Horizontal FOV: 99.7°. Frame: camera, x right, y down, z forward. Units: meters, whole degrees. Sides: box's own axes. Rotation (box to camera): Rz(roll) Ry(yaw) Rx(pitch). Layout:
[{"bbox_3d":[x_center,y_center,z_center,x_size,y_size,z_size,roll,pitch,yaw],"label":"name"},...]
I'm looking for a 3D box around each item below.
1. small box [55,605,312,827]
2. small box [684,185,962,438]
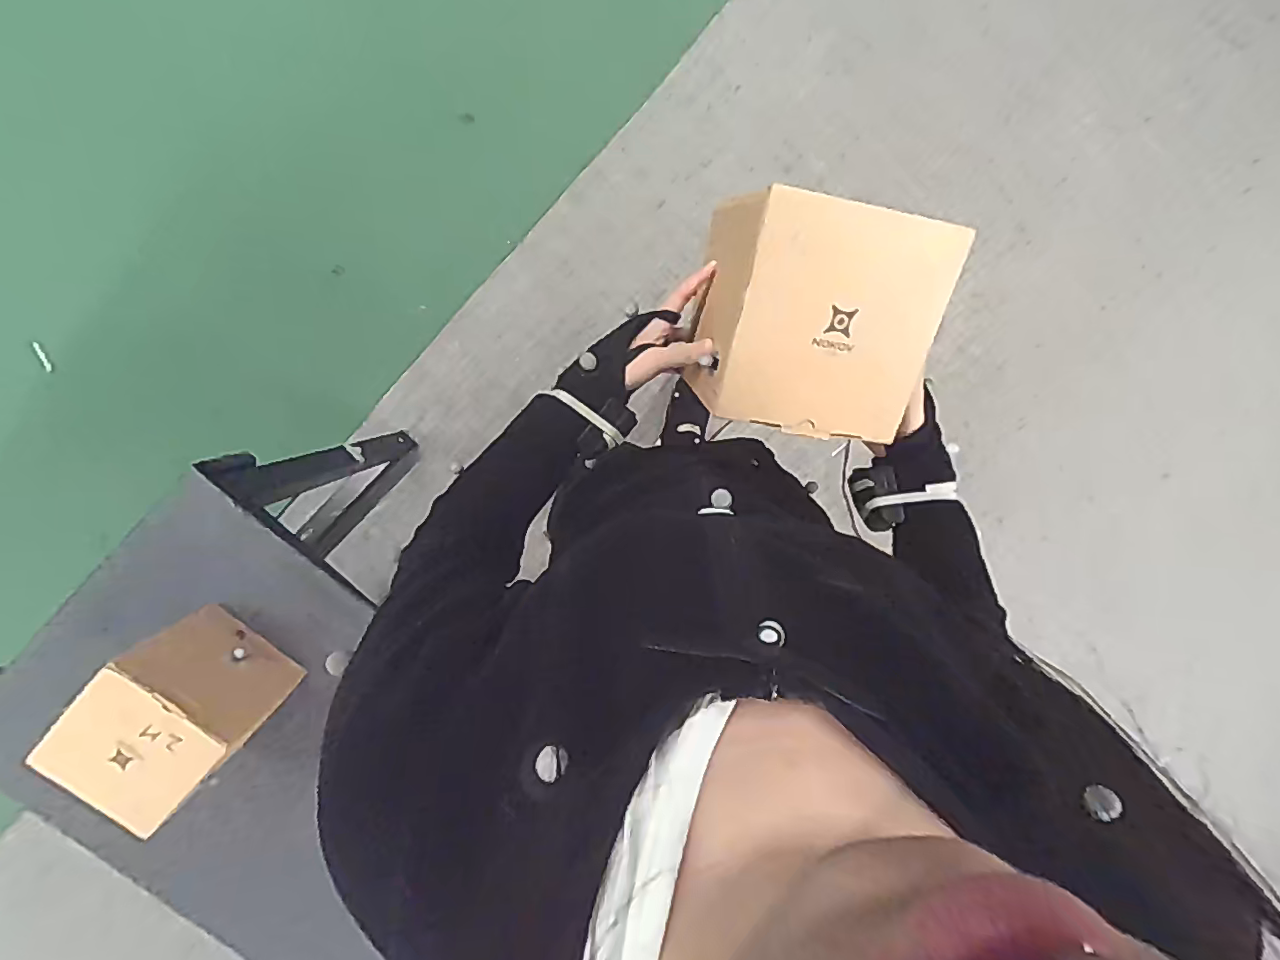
[{"bbox_3d":[-0.596,0.307,0.734,0.168,0.176,0.179,43,98,-9],"label":"small box"},{"bbox_3d":[0.145,-0.155,0.501,0.168,0.176,0.179,6,114,-9],"label":"small box"}]
